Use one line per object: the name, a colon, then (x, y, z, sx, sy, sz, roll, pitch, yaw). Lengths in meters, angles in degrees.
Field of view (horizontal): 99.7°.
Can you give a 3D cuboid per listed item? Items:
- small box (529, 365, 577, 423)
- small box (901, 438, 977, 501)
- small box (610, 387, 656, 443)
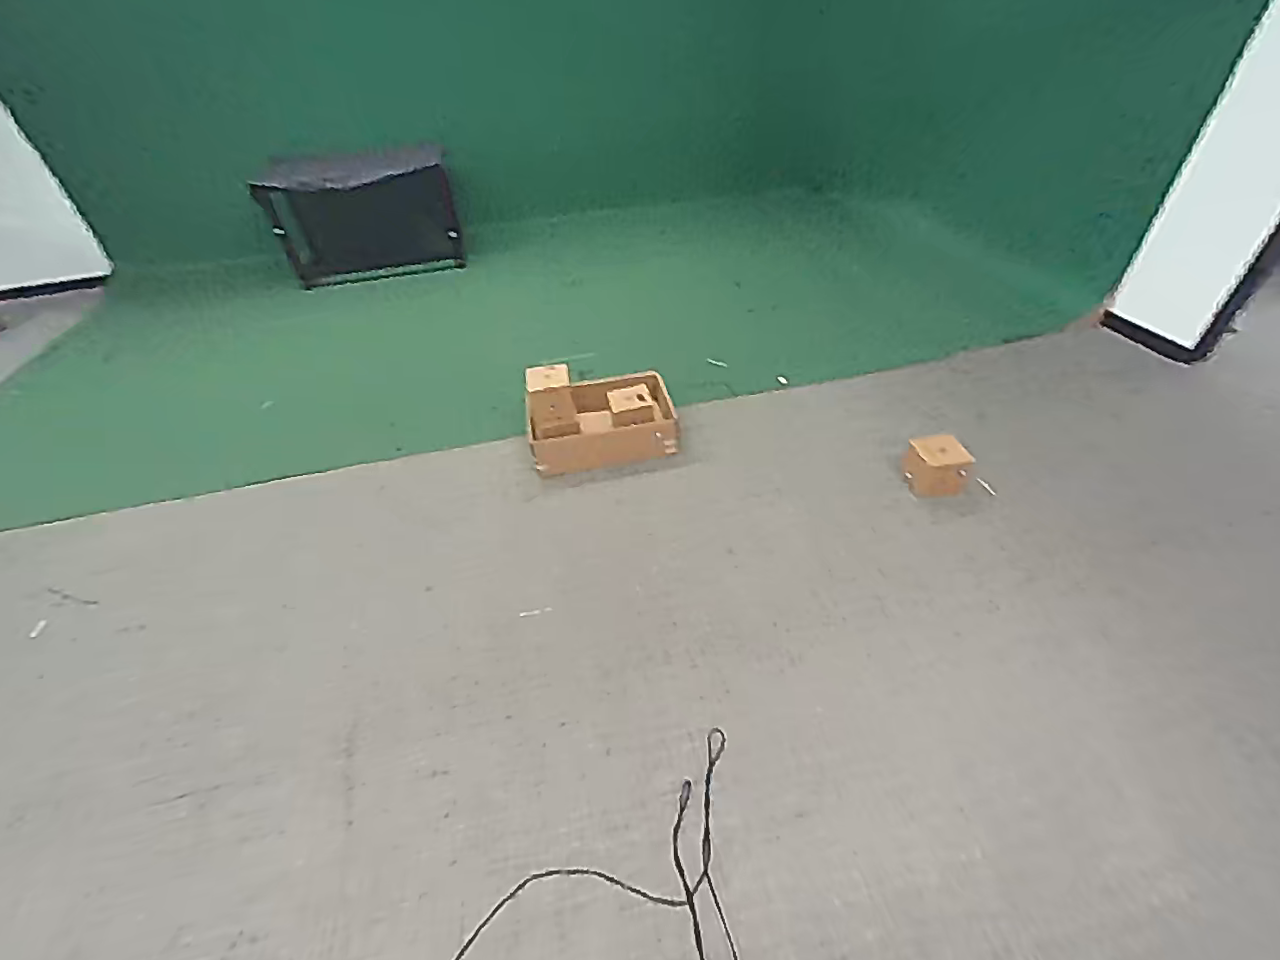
small box: (-0.356, -0.347, 2.219, 0.168, 0.176, 0.179, -9, 43, -4)
small box: (1.133, -0.040, 2.066, 0.179, 0.176, 0.168, -7, 41, -3)
small box: (-0.029, -0.283, 2.364, 0.179, 0.176, 0.168, -11, 43, -5)
